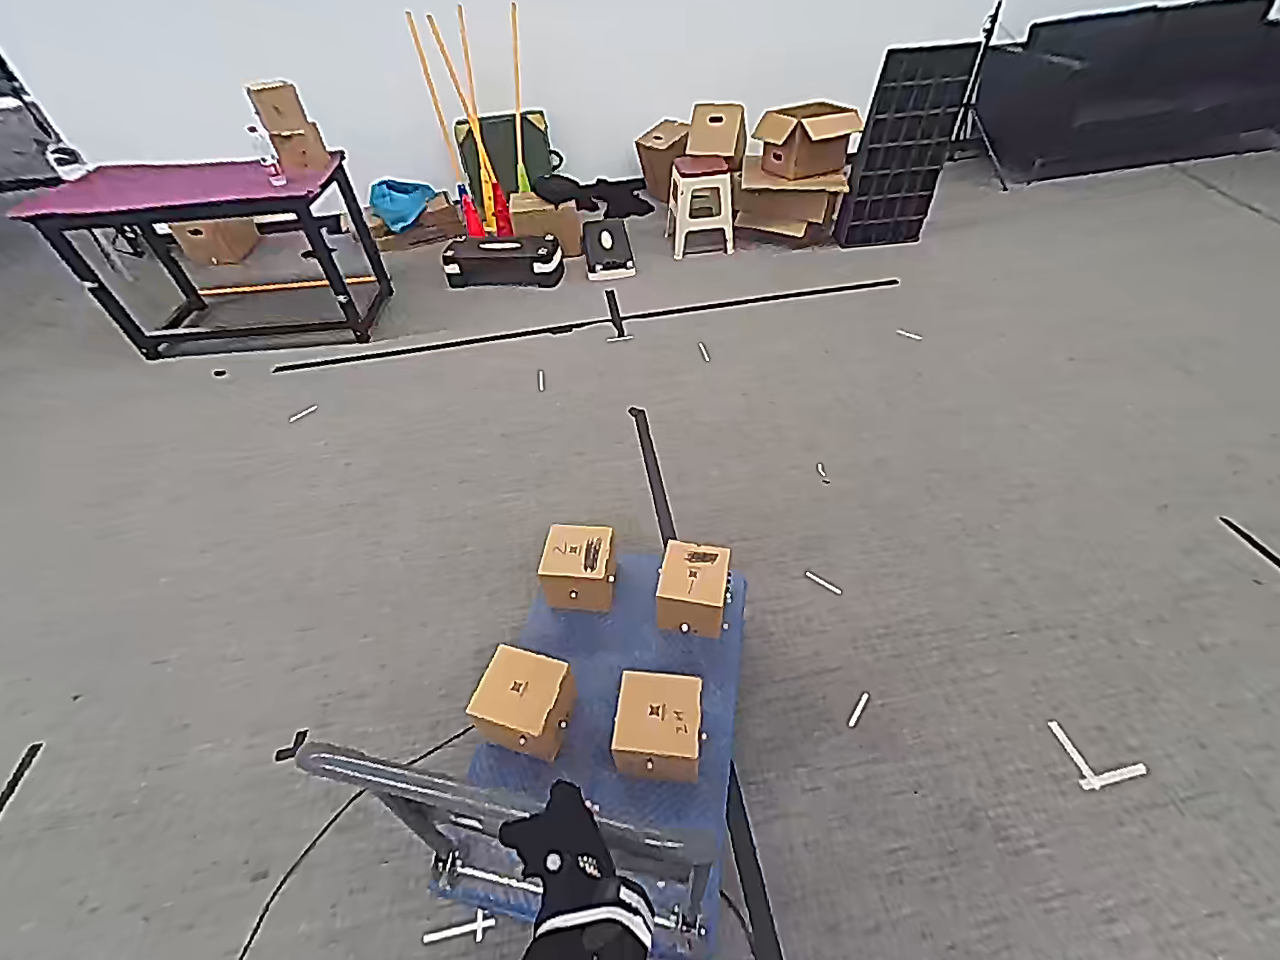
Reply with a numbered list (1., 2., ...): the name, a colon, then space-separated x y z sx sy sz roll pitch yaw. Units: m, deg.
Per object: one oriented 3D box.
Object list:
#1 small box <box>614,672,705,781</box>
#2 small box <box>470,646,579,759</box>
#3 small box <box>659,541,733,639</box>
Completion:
1. small box: 0.049 0.539 1.179 0.179 0.176 0.168 3 46 7
2. small box: -0.253 0.509 1.232 0.179 0.176 0.168 11 47 13
3. small box: 0.146 0.287 1.416 0.168 0.176 0.179 7 48 11
